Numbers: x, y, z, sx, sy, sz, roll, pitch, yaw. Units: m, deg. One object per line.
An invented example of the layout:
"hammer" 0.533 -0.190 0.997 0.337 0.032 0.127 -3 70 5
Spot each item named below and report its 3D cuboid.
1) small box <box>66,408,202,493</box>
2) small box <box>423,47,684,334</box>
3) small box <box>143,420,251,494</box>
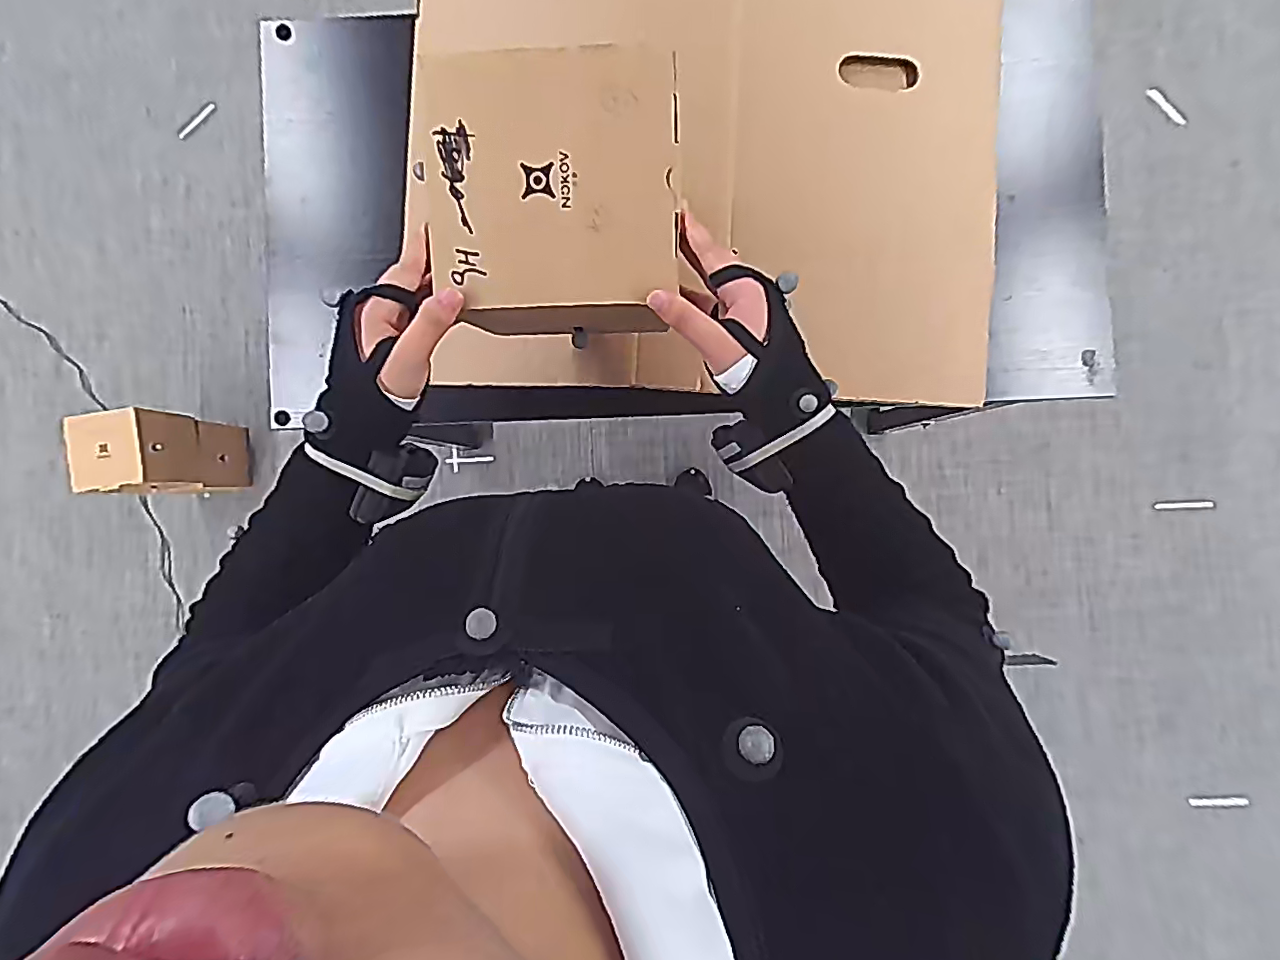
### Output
"small box" -1.196 -0.066 1.293 0.168 0.176 0.179 -9 88 1
"small box" -0.059 -0.219 0.452 0.179 0.176 0.168 -1 97 0
"small box" -1.192 -0.057 1.455 0.168 0.176 0.179 -6 90 1
